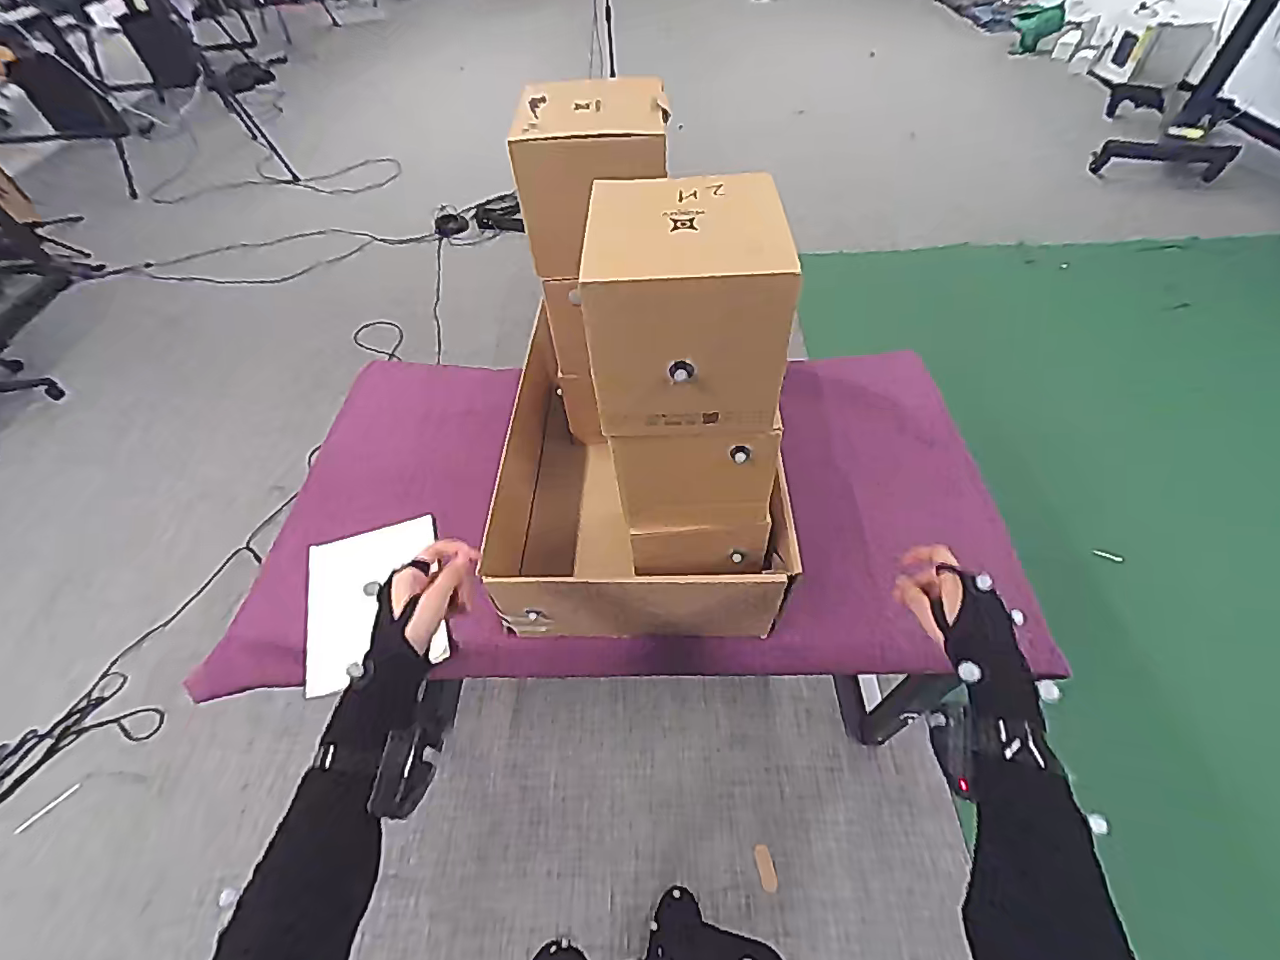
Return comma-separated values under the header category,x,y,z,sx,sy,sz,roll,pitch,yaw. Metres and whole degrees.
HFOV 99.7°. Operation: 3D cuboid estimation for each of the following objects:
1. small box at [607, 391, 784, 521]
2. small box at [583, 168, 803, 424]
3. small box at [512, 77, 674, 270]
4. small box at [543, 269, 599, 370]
category,x,y,z,sx,sy,sz,roll,pitch,yaw
small box,0.061,-0.063,0.637,0.179,0.176,0.168,-1,51,3
small box,0.046,-0.166,0.509,0.168,0.176,0.179,-1,50,3
small box,-0.050,-0.386,0.692,0.179,0.176,0.168,0,53,1
small box,-0.041,-0.285,0.821,0.179,0.176,0.168,-3,53,1
